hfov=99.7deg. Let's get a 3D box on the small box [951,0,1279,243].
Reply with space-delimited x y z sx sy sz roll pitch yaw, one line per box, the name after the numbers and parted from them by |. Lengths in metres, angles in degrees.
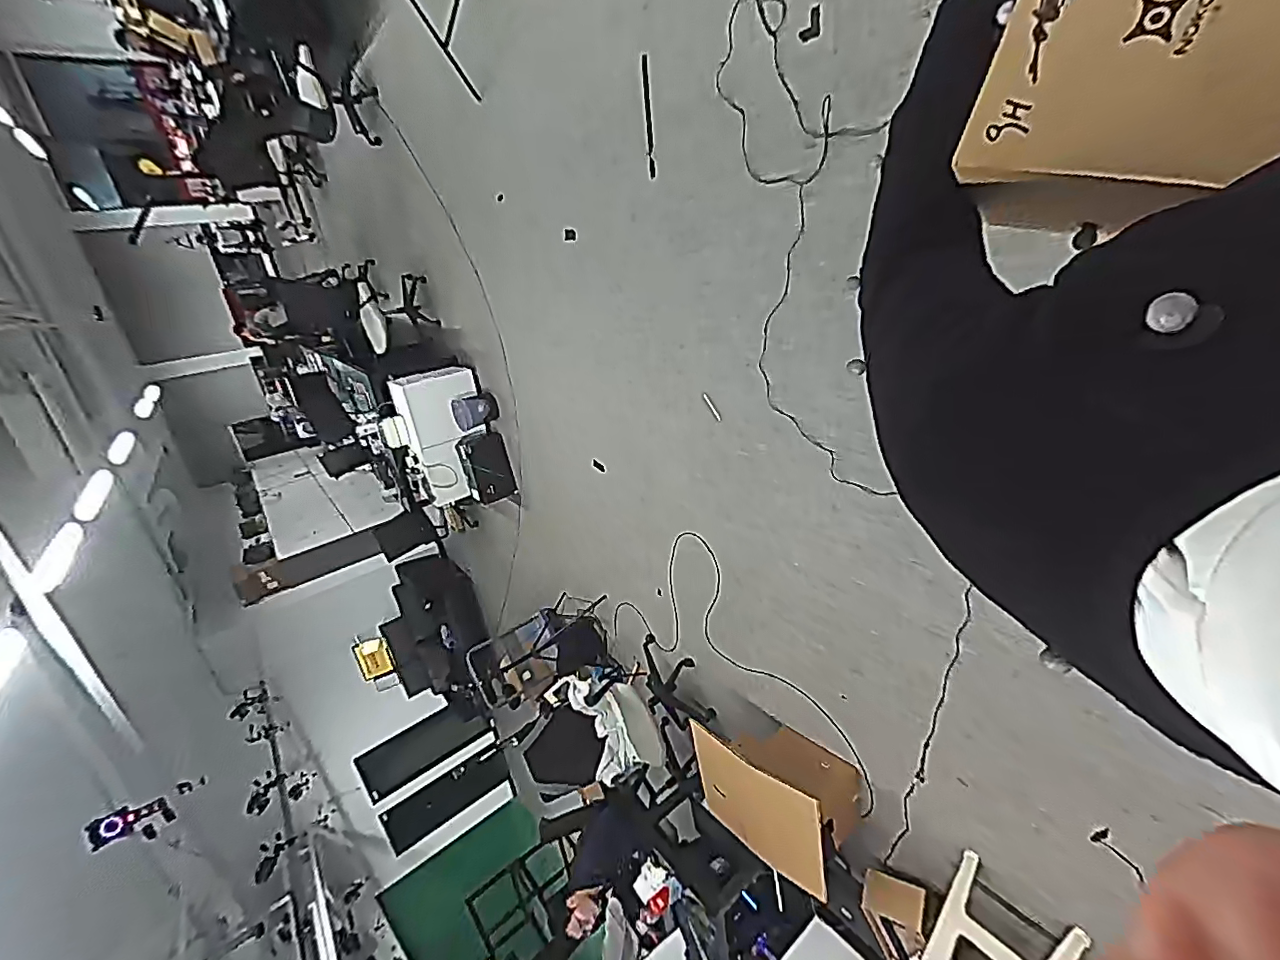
0.354 -0.276 0.376 0.179 0.176 0.168 28 113 31 | small box
